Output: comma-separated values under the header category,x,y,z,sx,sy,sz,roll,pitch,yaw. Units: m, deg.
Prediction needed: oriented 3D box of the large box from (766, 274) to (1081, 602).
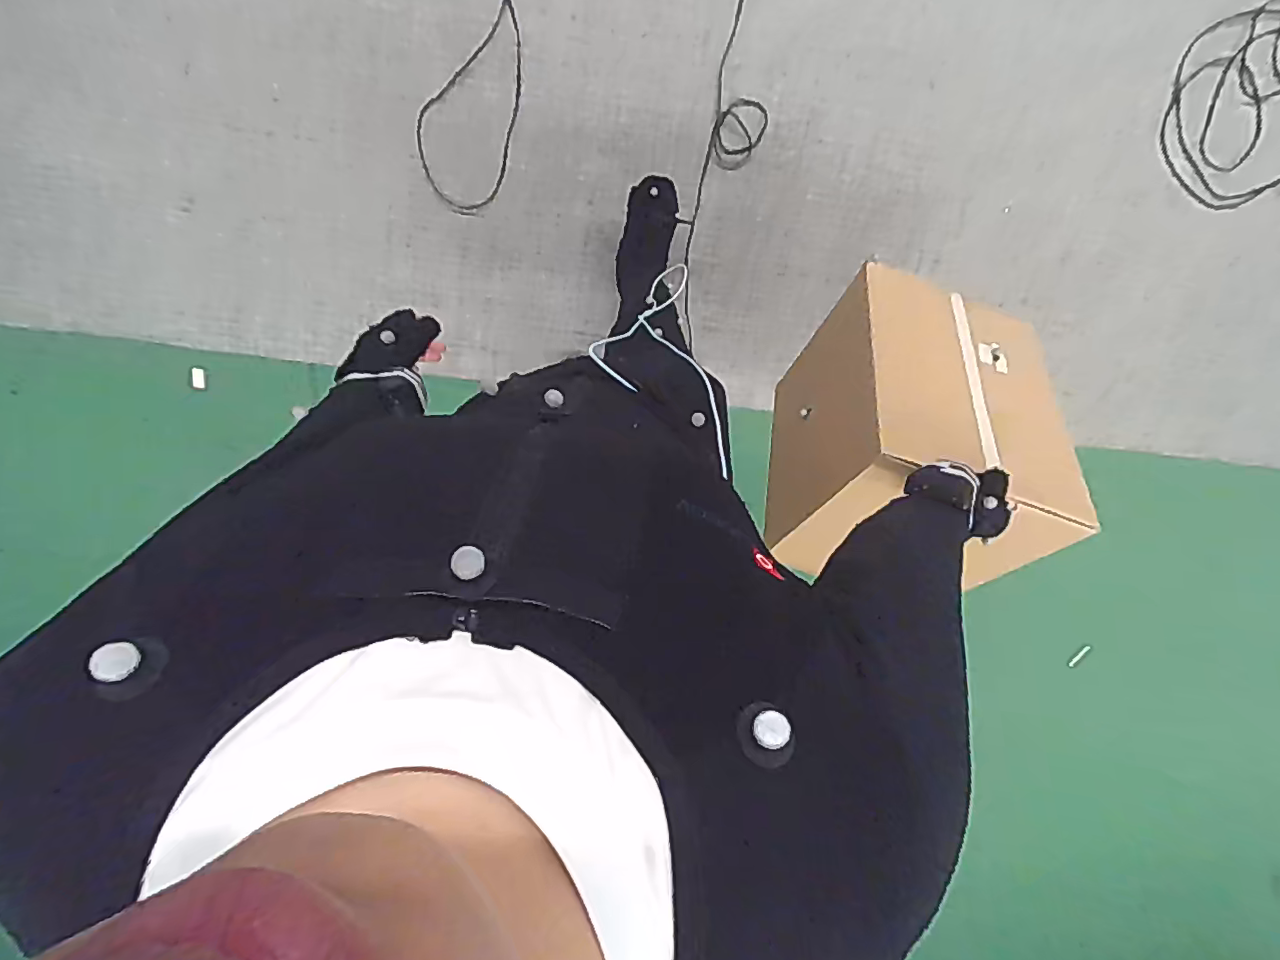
category,x,y,z,sx,sy,sz,roll,pitch,yaw
large box,0.425,-0.060,0.916,0.320,0.408,0.320,18,144,-7
